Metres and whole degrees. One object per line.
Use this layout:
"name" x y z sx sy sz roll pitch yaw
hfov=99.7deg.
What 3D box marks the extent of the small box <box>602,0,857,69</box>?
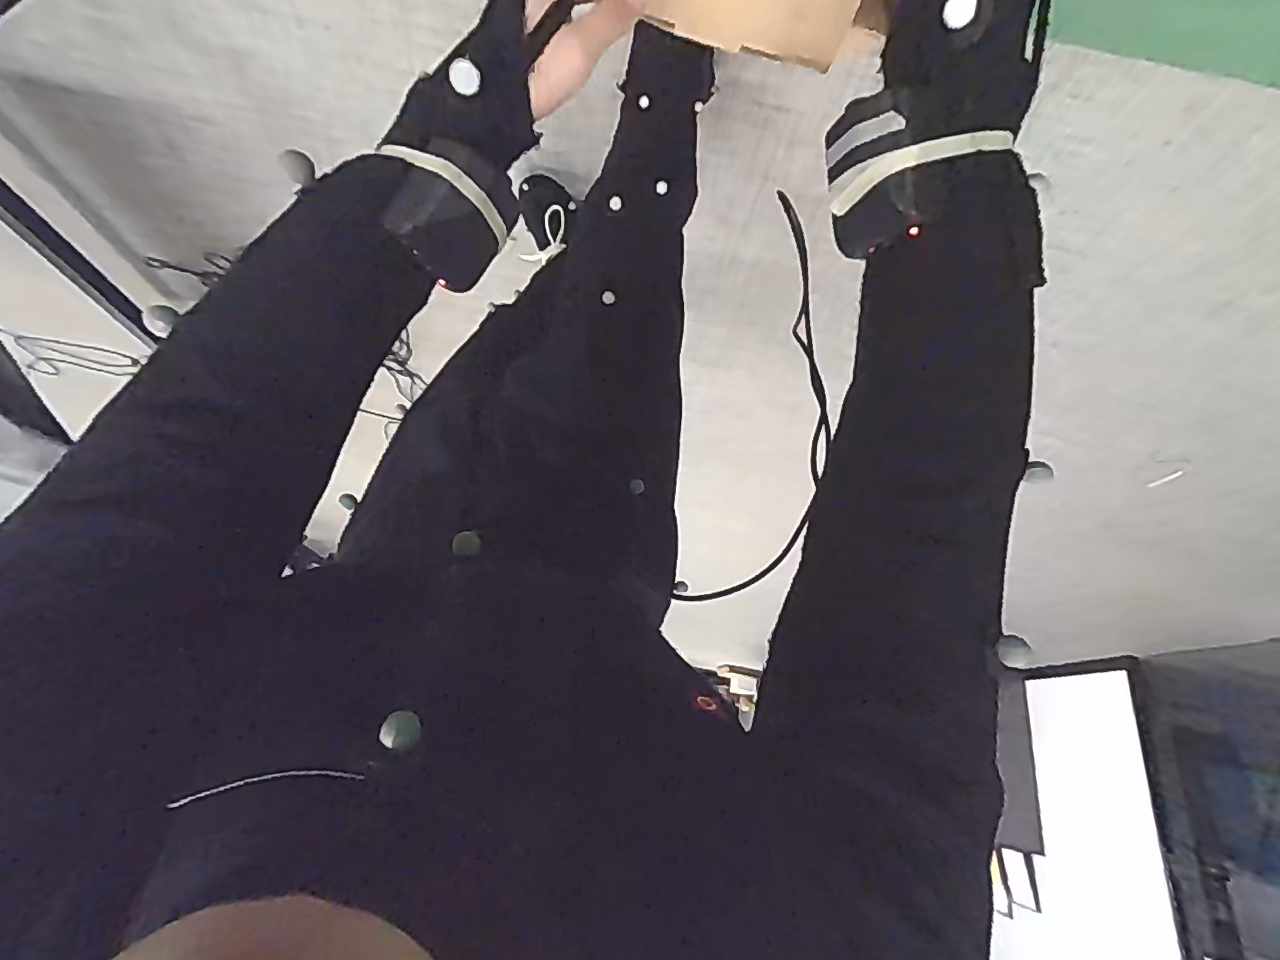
"small box" 0.071 -0.386 0.293 0.168 0.176 0.179 13 157 -4
